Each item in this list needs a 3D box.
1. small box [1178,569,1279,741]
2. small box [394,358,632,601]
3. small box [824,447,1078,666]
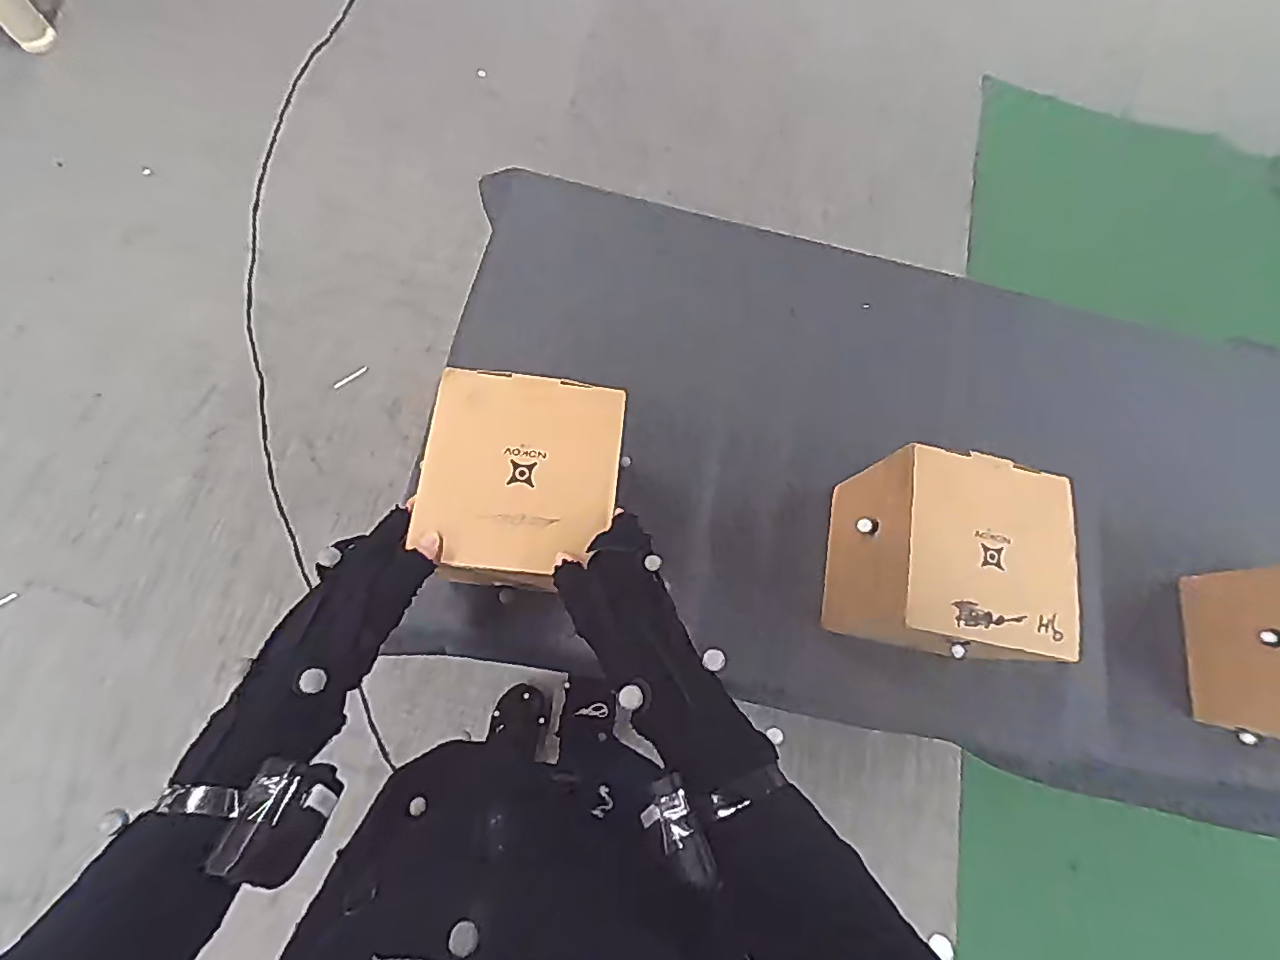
[{"bbox_3d":[0.757,0.204,0.594,0.168,0.176,0.179,13,71,-3],"label":"small box"},{"bbox_3d":[-0.107,0.012,0.518,0.168,0.176,0.179,9,72,-3],"label":"small box"},{"bbox_3d":[0.311,0.089,0.572,0.168,0.176,0.179,13,72,-4],"label":"small box"}]
